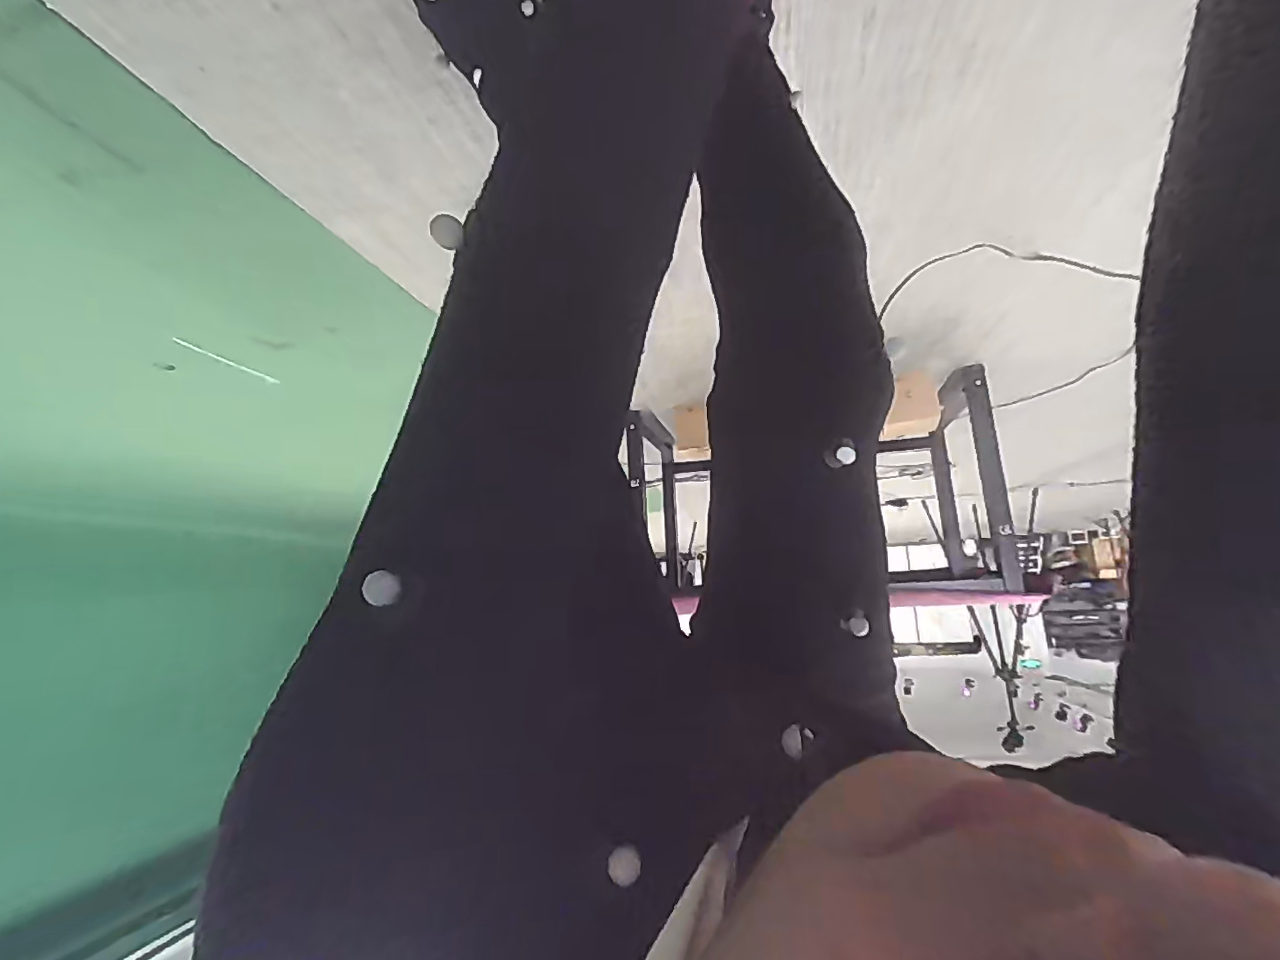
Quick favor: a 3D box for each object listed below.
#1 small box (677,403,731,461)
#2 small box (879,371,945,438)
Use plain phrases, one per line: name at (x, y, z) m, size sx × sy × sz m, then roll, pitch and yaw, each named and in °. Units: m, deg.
small box at (0.234, -0.175, 1.974) m, size 0.168 × 0.176 × 0.179 m, roll -6°, pitch 169°, yaw 17°
small box at (0.887, -0.249, 1.776) m, size 0.168 × 0.176 × 0.179 m, roll -8°, pitch 168°, yaw 22°
